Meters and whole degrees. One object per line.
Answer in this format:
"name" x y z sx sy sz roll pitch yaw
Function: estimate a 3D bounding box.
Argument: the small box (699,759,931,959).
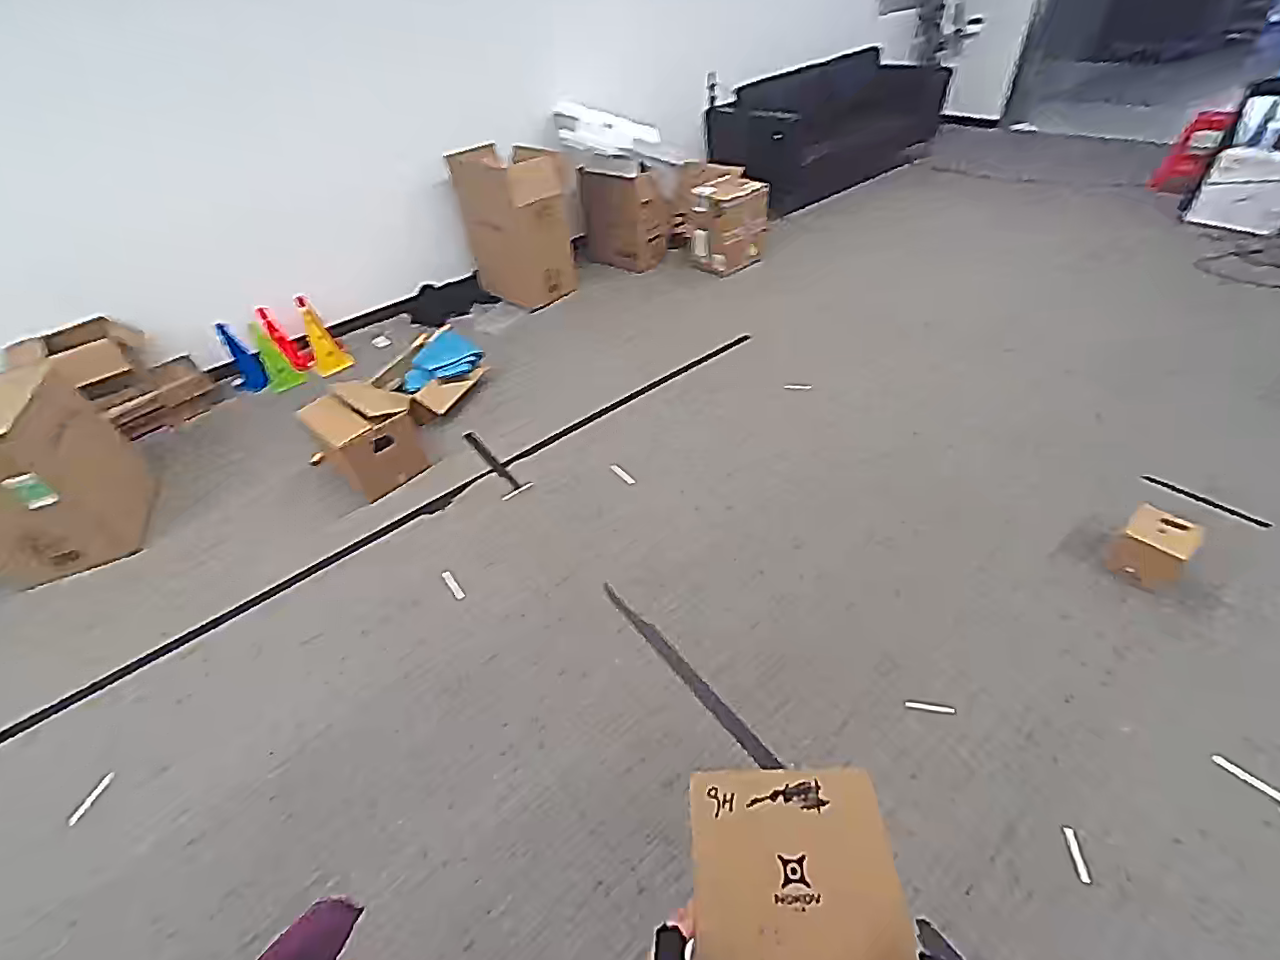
"small box" 0.142 0.373 0.487 0.168 0.176 0.179 -4 43 6

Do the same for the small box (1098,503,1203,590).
"small box" 1.603 0.210 1.708 0.179 0.176 0.168 -34 49 -25
